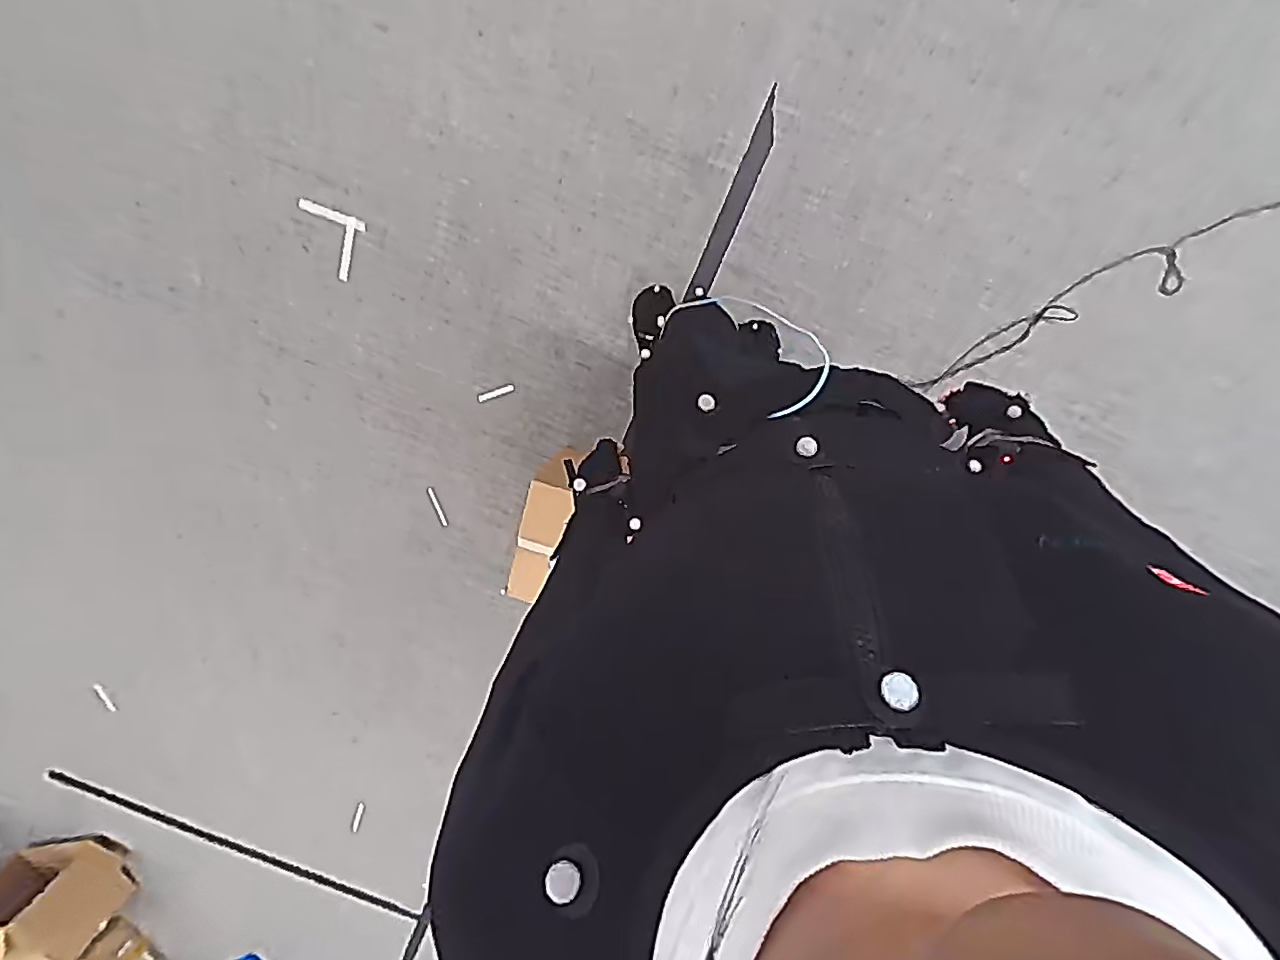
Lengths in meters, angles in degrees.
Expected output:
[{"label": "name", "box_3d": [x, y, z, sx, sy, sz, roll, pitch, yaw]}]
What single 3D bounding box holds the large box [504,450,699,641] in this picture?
[{"label": "large box", "box_3d": [-0.082, 0.150, 1.395, 0.408, 0.320, 0.320, 17, 108, 2]}]
